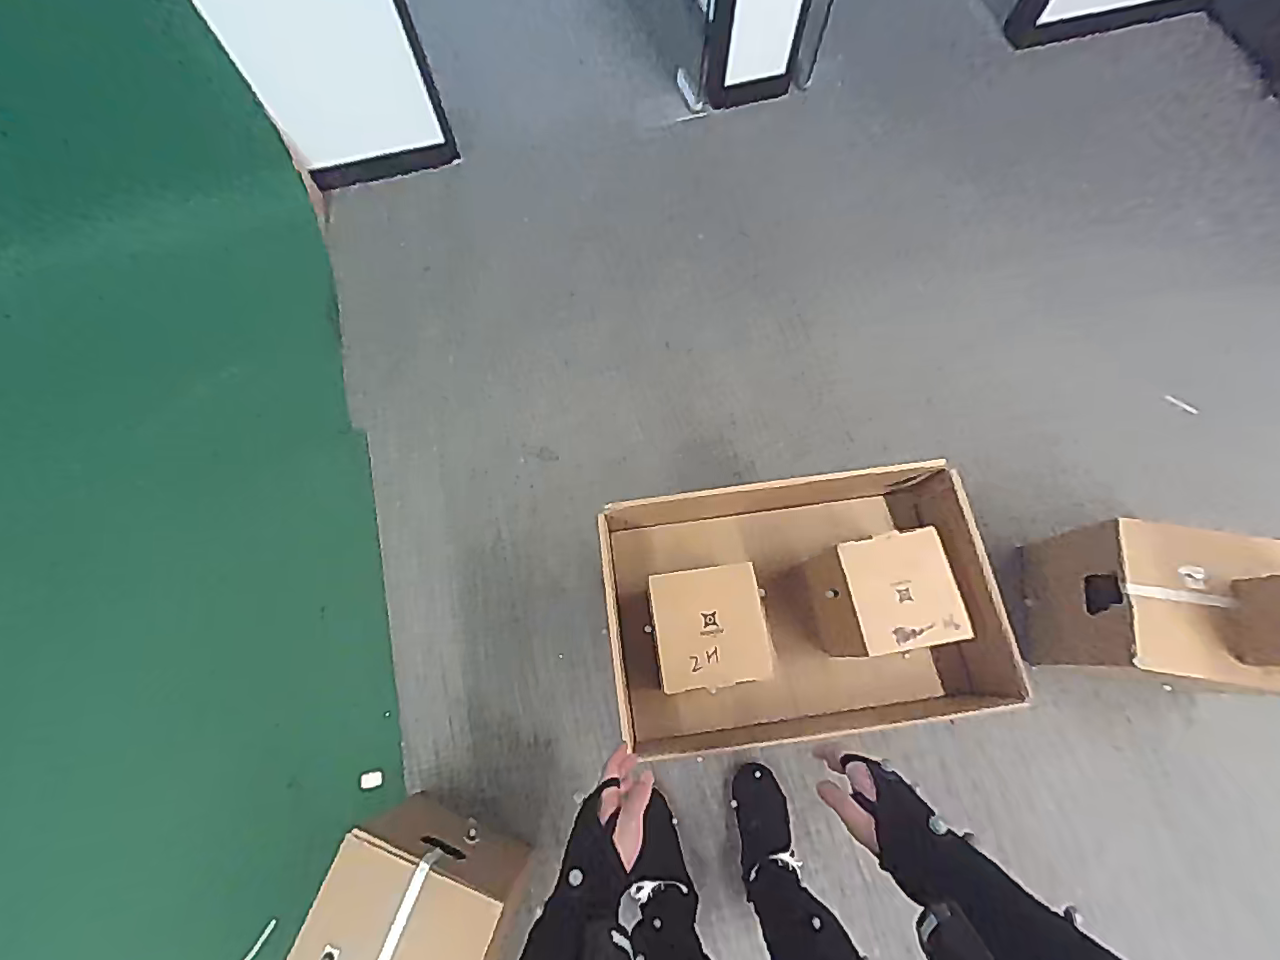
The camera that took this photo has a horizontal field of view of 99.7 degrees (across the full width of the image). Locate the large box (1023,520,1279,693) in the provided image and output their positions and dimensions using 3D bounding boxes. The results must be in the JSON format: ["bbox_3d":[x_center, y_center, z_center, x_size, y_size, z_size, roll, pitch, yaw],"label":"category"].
[{"bbox_3d":[1.184,0.297,1.234,0.408,0.320,0.320,8,71,4],"label":"large box"}]

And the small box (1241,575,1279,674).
[{"bbox_3d":[1.264,0.272,0.984,0.168,0.176,0.179,14,74,6],"label":"small box"}]
